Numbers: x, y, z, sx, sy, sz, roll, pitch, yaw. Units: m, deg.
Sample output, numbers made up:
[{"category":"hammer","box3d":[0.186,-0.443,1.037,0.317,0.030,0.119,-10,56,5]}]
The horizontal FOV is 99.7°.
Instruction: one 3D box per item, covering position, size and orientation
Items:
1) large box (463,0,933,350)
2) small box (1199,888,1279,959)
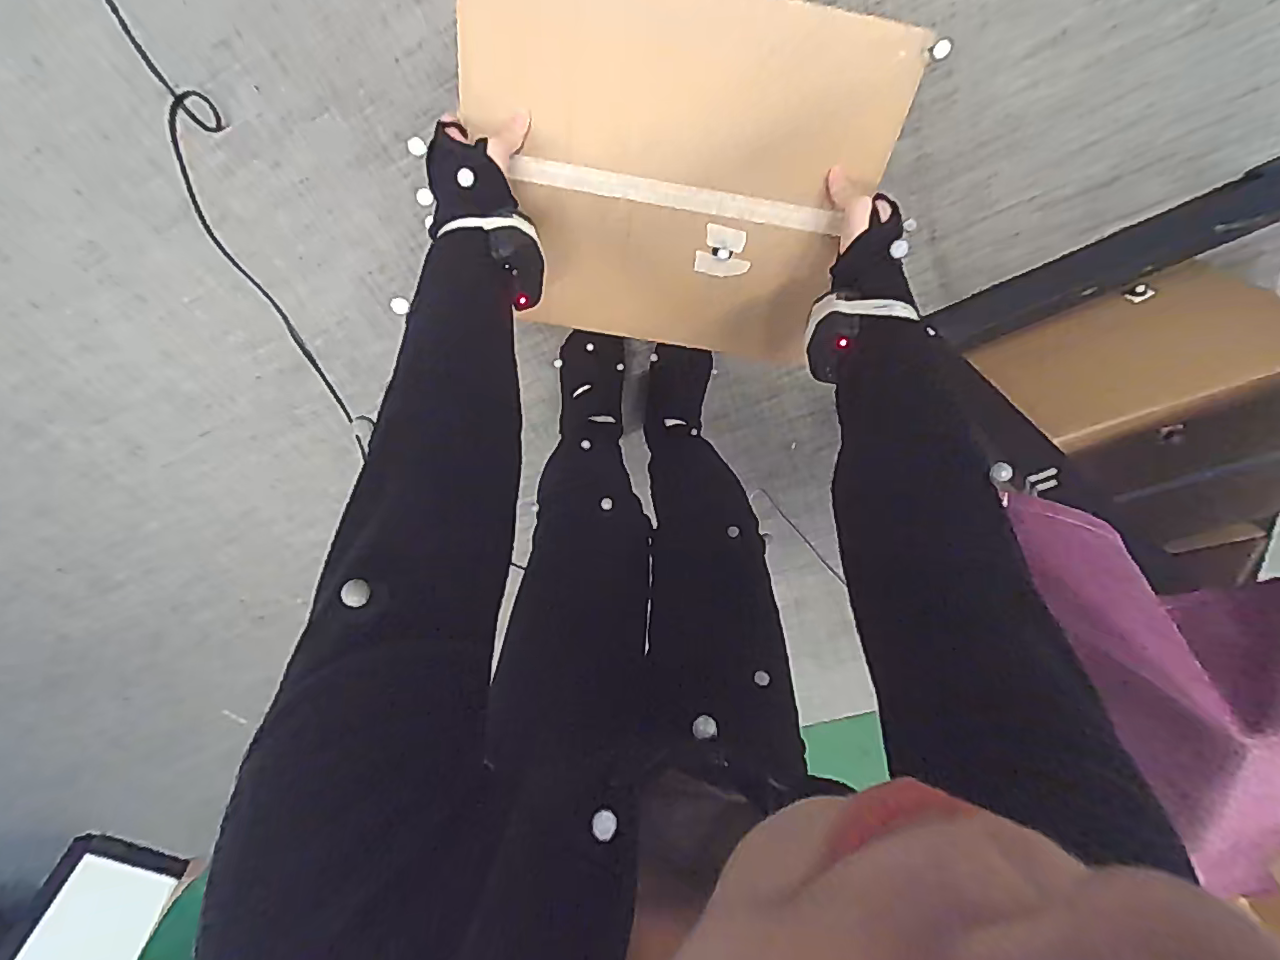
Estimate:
[{"category":"large box","box3d":[0.031,-0.385,0.648,0.408,0.320,0.320,7,129,-6]},{"category":"small box","box3d":[0.807,0.569,0.602,0.179,0.176,0.168,-15,128,12]}]
